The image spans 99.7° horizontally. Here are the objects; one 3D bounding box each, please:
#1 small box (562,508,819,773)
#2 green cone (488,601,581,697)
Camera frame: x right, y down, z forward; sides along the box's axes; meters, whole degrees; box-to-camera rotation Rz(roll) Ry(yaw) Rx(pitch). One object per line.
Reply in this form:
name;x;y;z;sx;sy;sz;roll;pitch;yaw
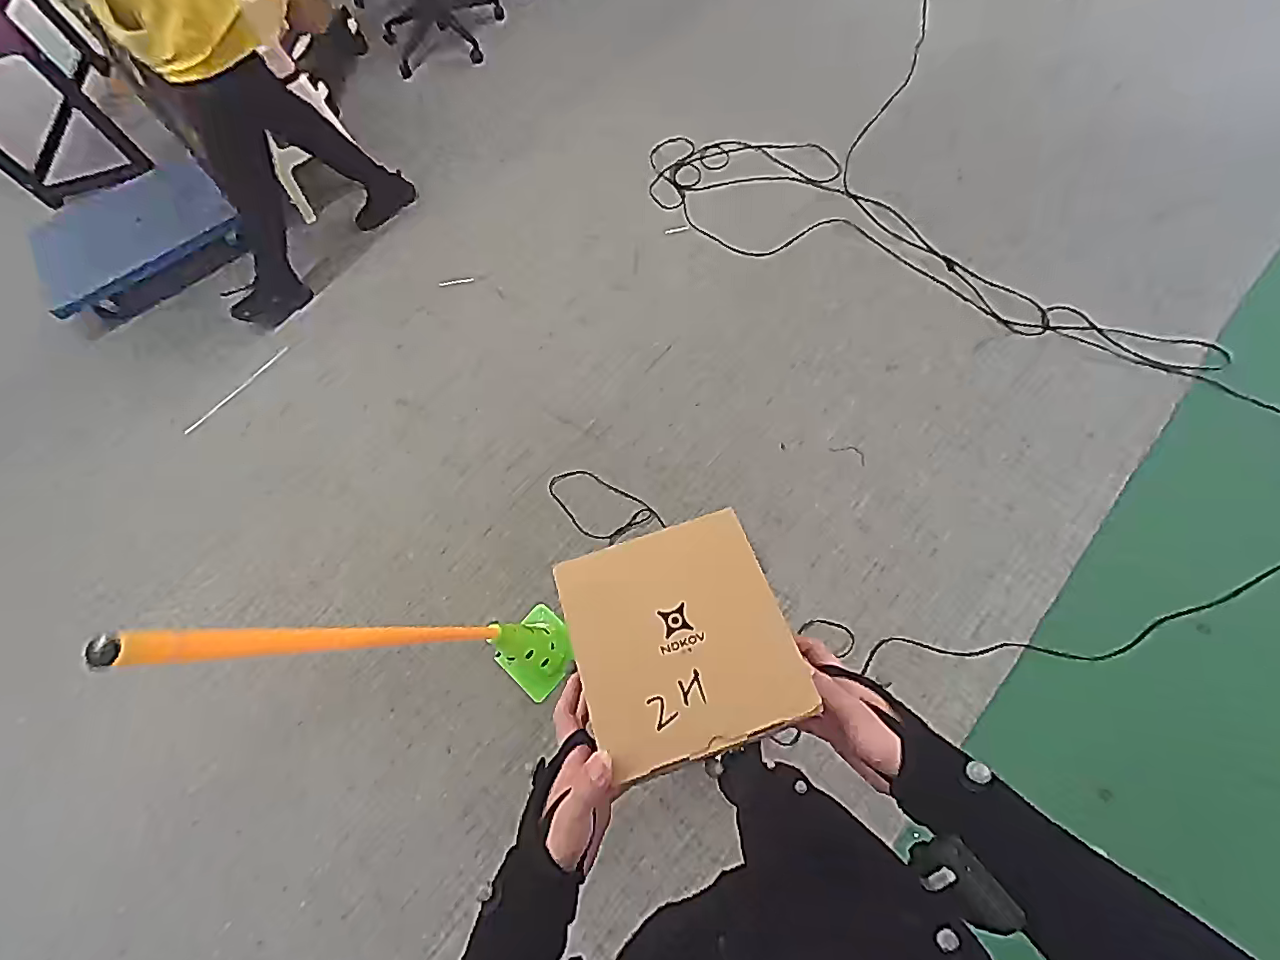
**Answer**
small box;0.036;0.155;0.501;0.168;0.176;0.179;-16;62;-5
green cone;-0.300;0.400;1.355;0.200;0.368;0.202;38;76;20
